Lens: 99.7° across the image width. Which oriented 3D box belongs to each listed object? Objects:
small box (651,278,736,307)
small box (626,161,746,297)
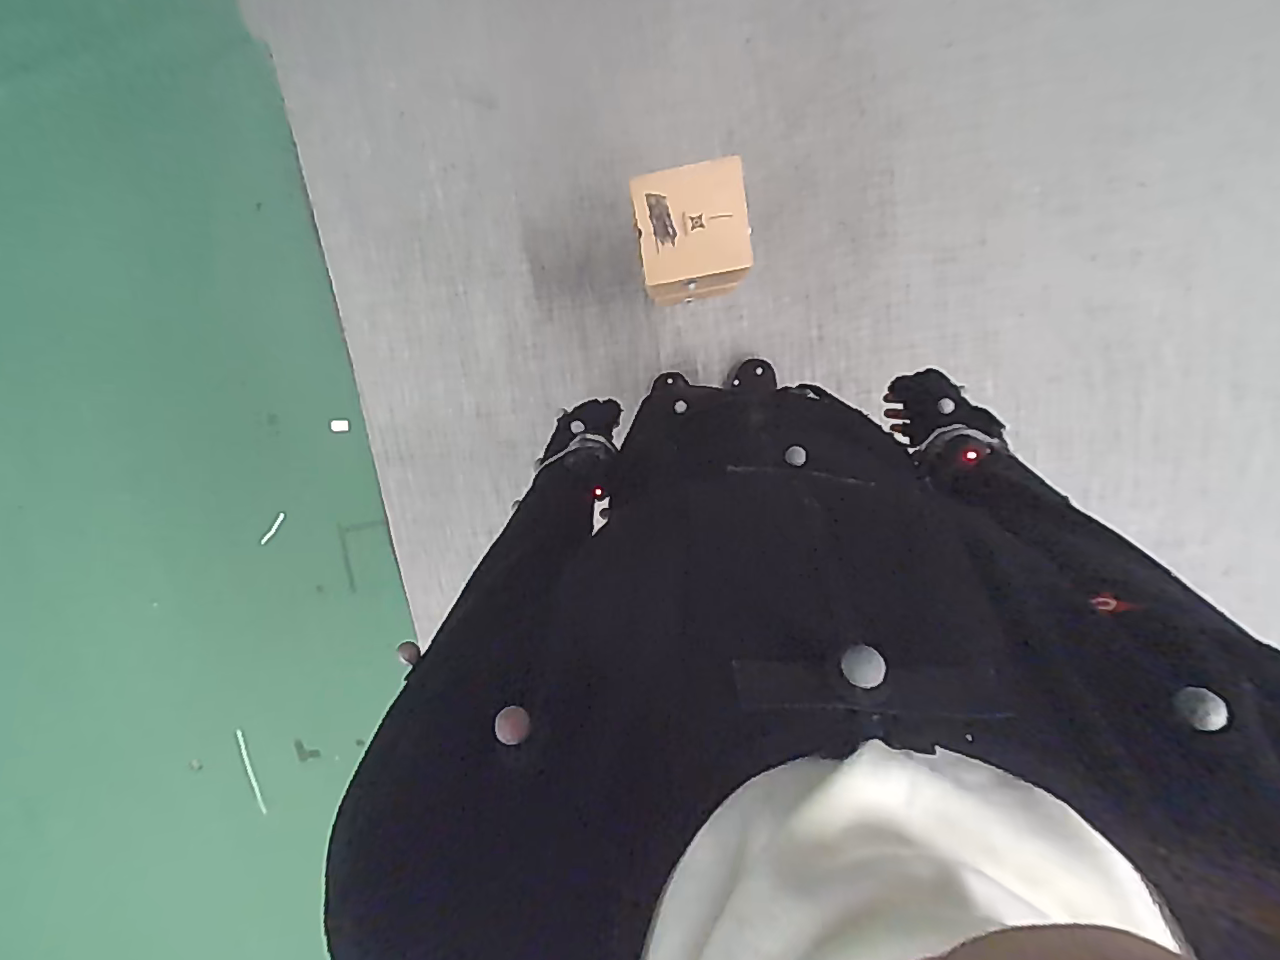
[{"bbox_3d":[0.094,-0.456,1.086,0.168,0.176,0.179,-9,103,7],"label":"small box"},{"bbox_3d":[0.082,-0.423,0.943,0.179,0.176,0.168,-8,102,6],"label":"small box"}]
